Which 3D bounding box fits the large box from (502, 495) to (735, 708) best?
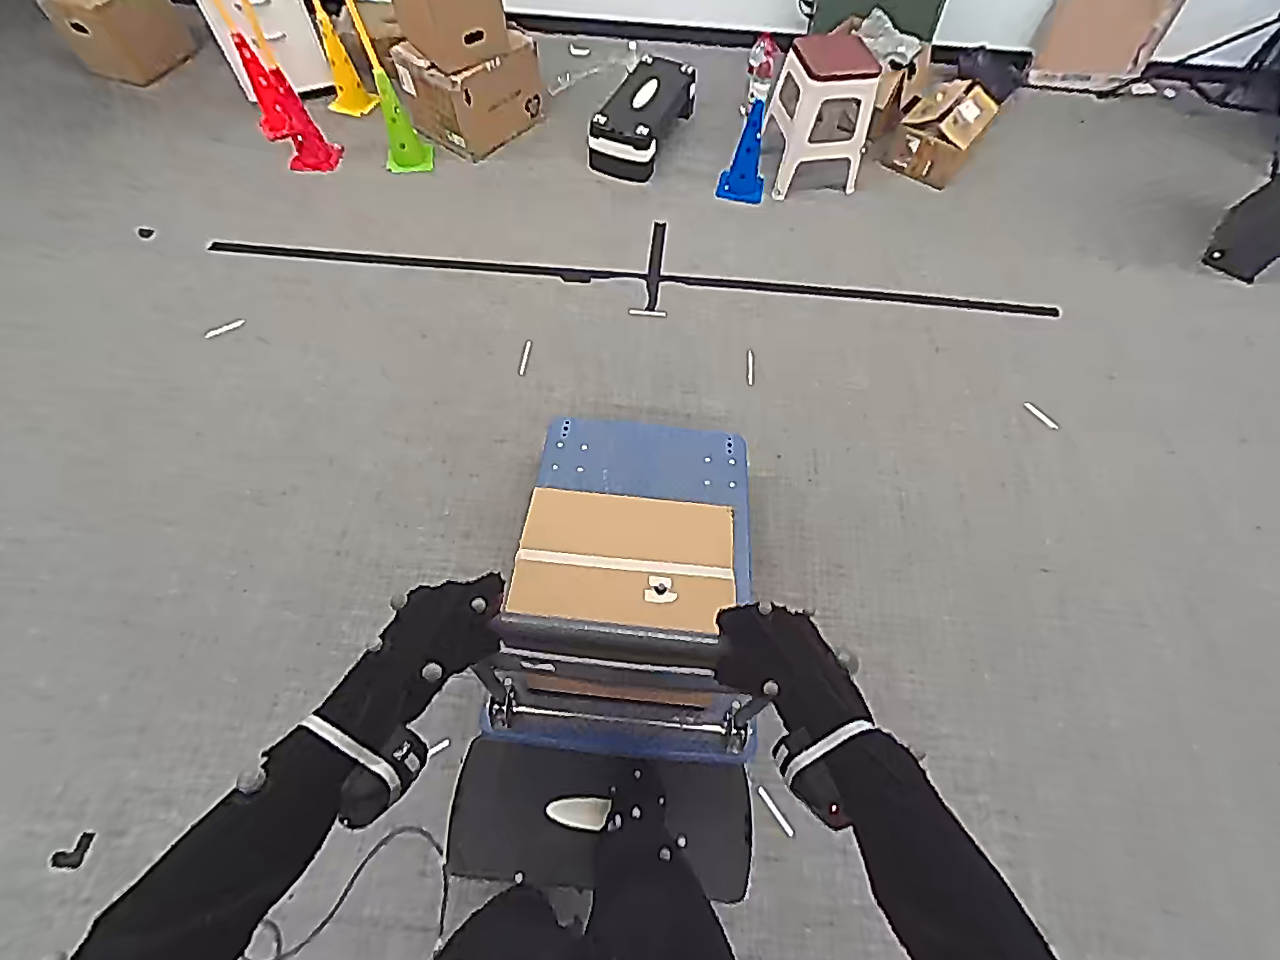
[{"bbox_3d":[-0.038,0.258,1.115,0.408,0.320,0.320,6,54,0],"label":"large box"}]
